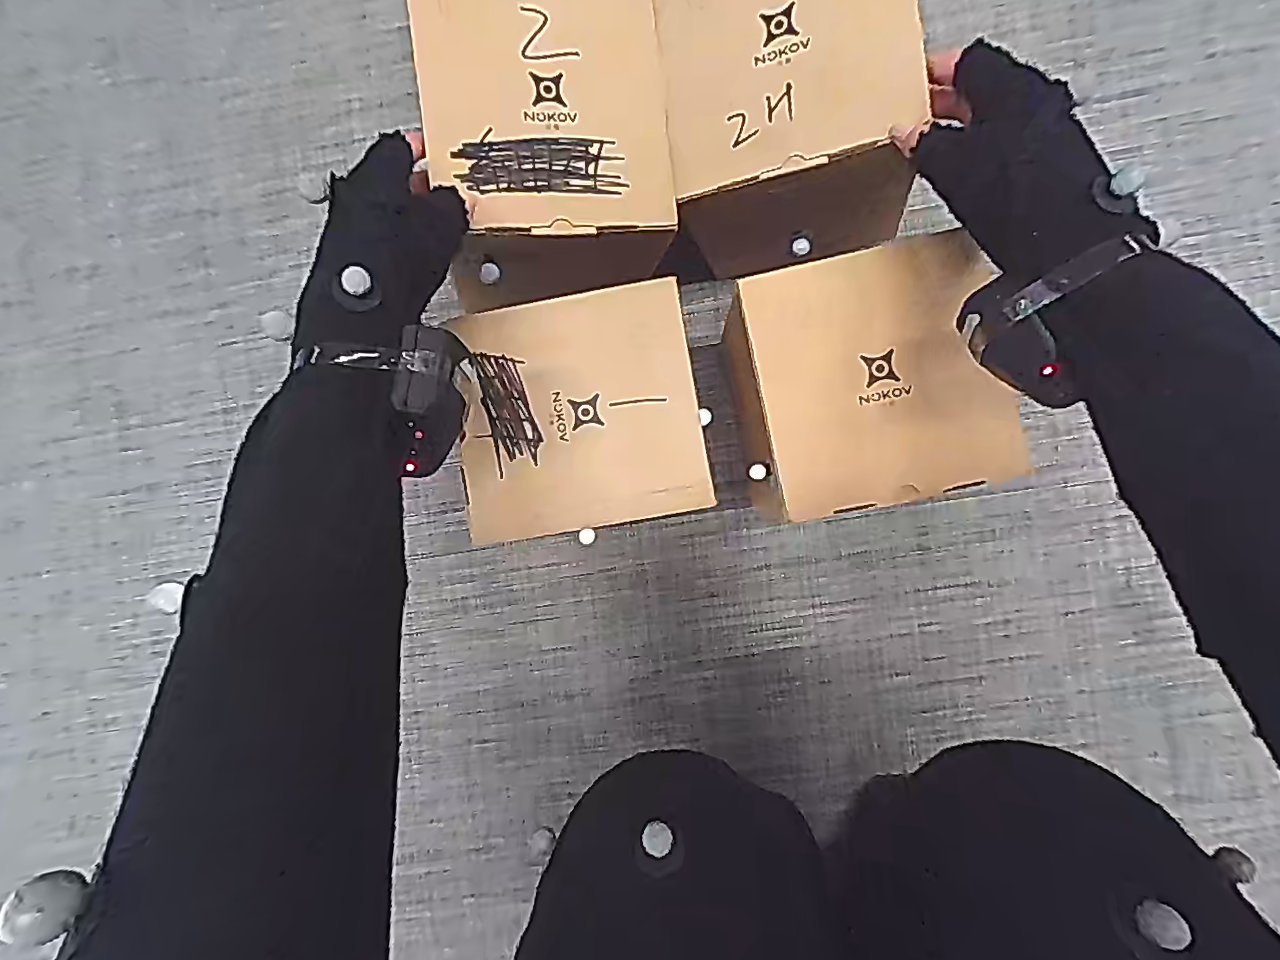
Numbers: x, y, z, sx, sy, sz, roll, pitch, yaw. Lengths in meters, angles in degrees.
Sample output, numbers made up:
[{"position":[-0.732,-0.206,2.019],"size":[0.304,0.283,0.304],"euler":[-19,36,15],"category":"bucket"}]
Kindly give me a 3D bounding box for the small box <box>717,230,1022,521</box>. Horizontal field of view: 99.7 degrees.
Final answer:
[{"position":[0.166,-0.070,0.450],"size":[0.168,0.176,0.179],"euler":[-13,89,3],"category":"small box"}]
